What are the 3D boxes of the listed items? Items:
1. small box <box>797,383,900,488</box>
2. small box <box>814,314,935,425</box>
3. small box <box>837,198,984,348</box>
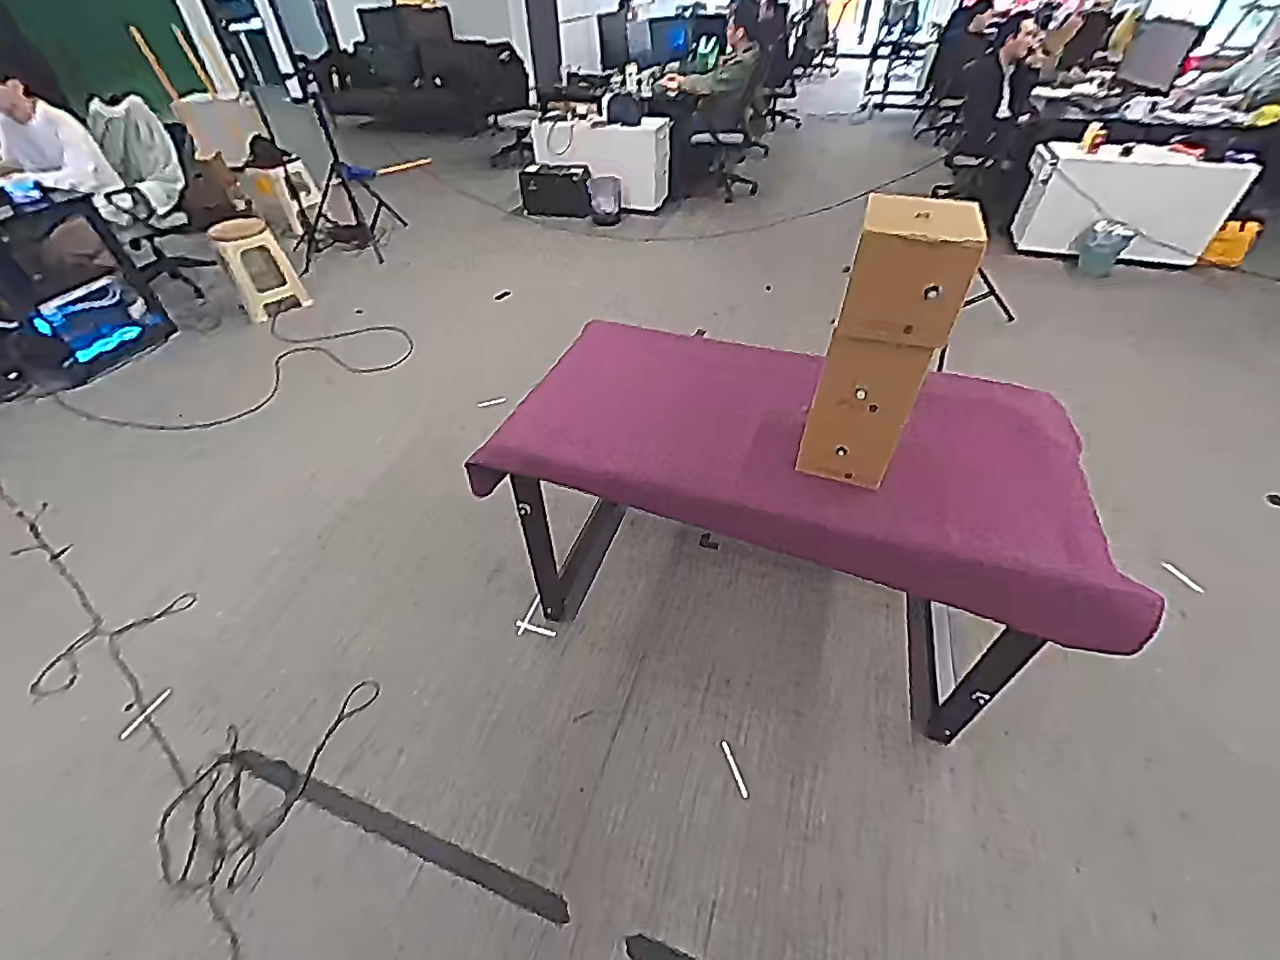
[{"bbox_3d":[0.428,-0.109,1.109,0.168,0.176,0.179,16,46,16],"label":"small box"},{"bbox_3d":[0.430,-0.230,0.998,0.168,0.176,0.179,15,46,16],"label":"small box"},{"bbox_3d":[0.423,-0.333,0.870,0.168,0.176,0.179,13,45,13],"label":"small box"}]
